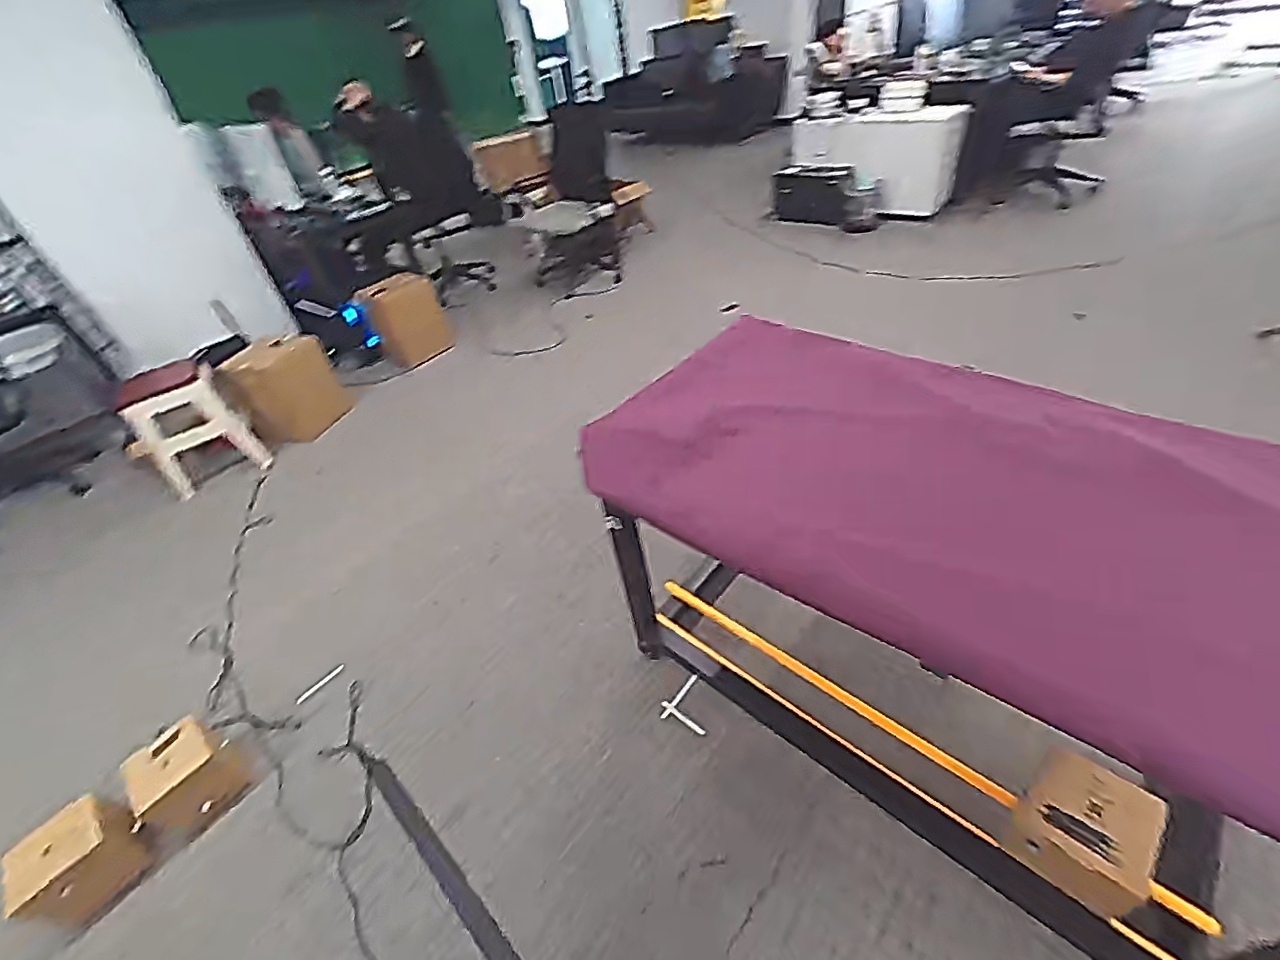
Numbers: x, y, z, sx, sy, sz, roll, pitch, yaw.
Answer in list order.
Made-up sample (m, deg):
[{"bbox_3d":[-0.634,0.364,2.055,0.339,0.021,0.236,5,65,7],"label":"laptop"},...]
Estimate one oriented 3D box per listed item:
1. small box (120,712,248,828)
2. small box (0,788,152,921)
[{"bbox_3d":[-1.149,0.737,1.370,0.179,0.176,0.168,26,53,33],"label":"small box"},{"bbox_3d":[-1.298,0.868,1.251,0.168,0.176,0.179,28,55,34],"label":"small box"}]
